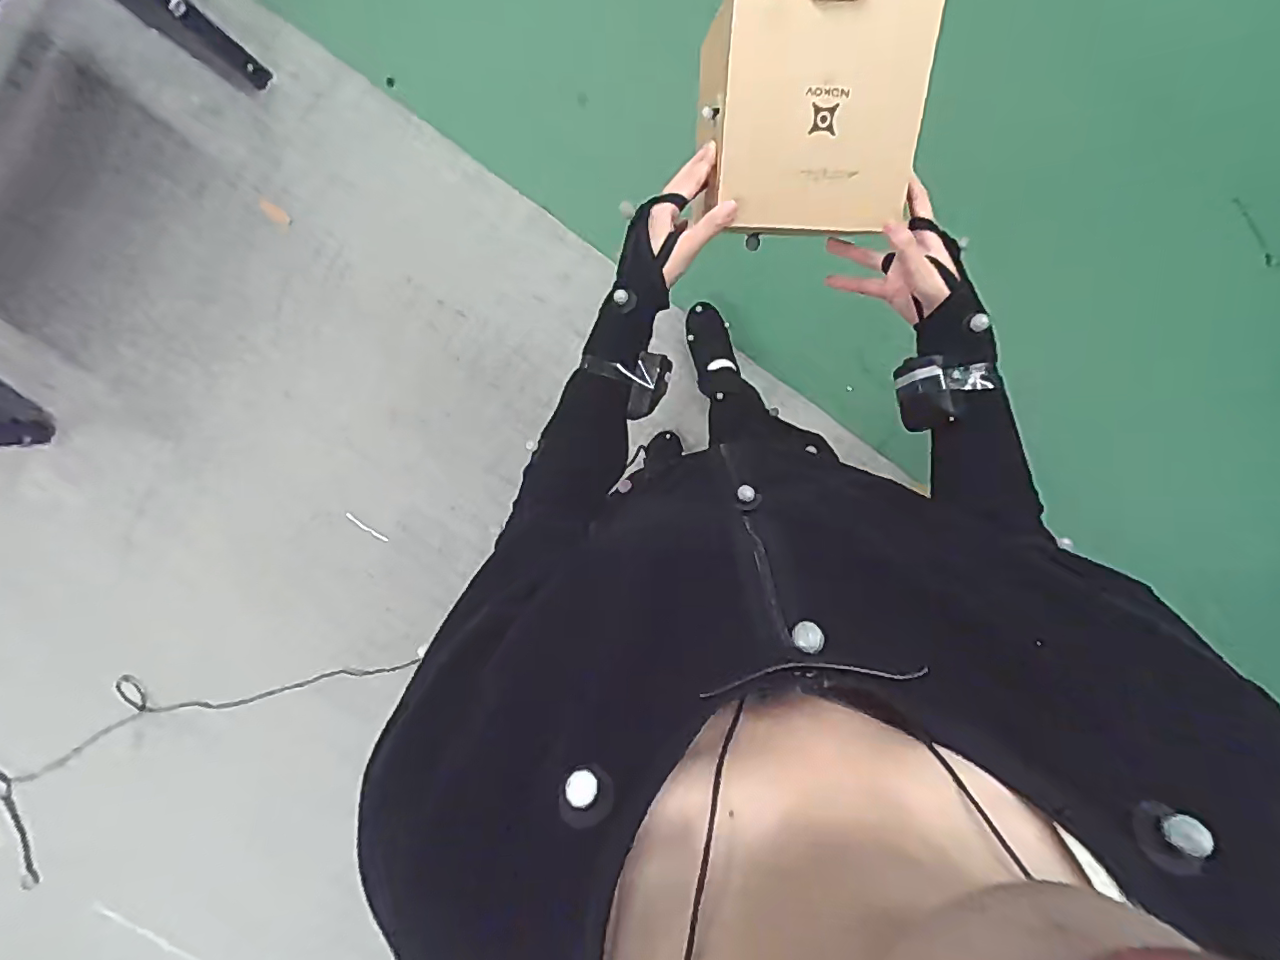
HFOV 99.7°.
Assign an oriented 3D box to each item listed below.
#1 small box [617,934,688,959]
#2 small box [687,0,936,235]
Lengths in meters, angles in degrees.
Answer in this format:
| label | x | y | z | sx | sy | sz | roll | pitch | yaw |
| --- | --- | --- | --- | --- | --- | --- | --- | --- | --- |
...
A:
| label | x | y | z | sx | sy | sz | roll | pitch | yaw |
| --- | --- | --- | --- | --- | --- | --- | --- | --- | --- |
| small box | 0.045 | 1.226 | 1.261 | 0.168 | 0.176 | 0.179 | -20 | 98 | 3 |
| small box | 0.138 | -0.332 | 0.507 | 0.168 | 0.176 | 0.179 | 1 | 113 | -3 |
